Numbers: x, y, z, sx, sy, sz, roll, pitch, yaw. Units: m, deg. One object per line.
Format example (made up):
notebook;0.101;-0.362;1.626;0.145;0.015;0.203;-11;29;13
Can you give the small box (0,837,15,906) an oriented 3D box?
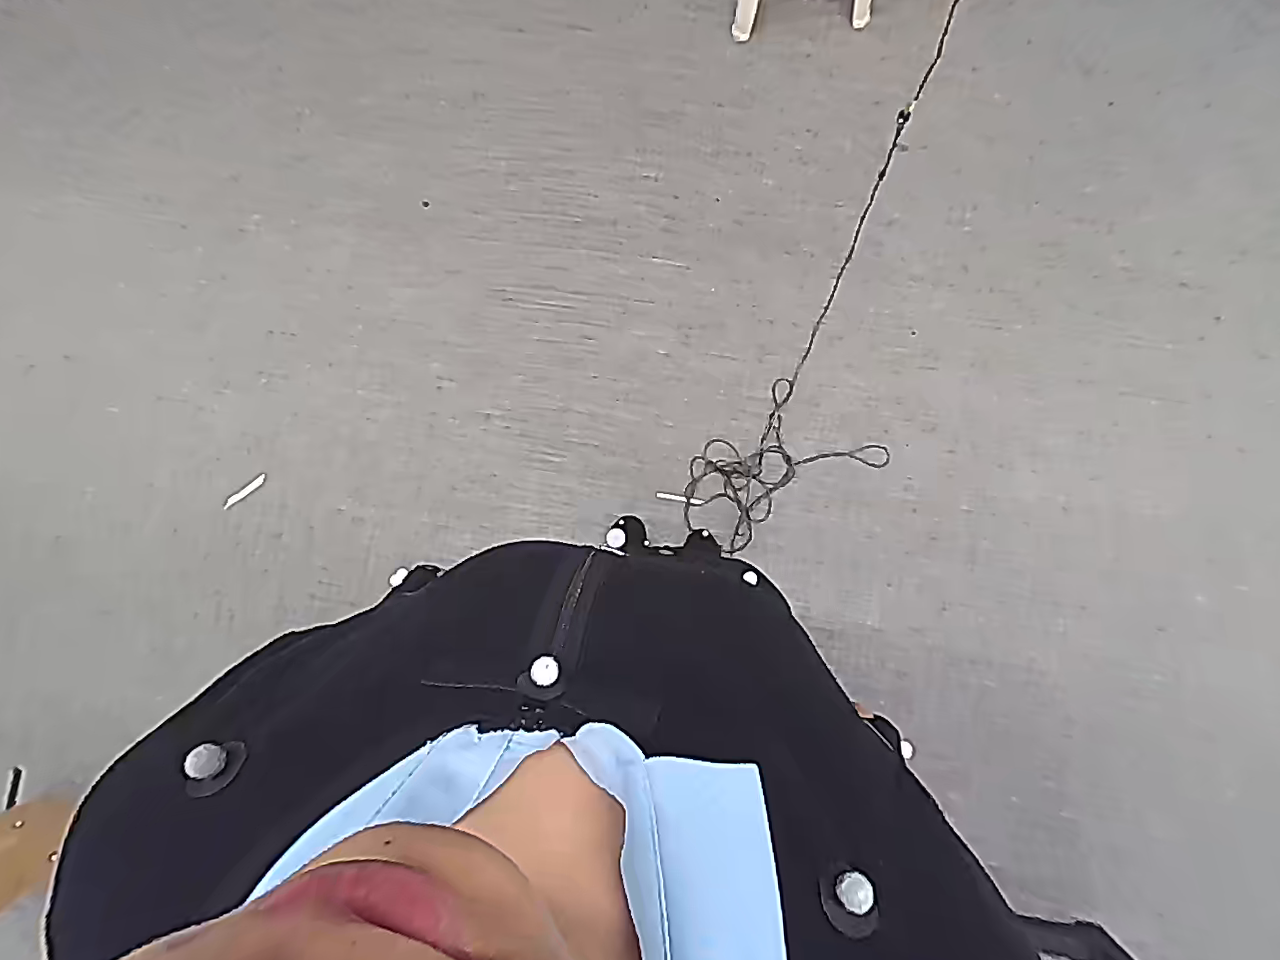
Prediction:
small box;-1.764;1.032;1.374;0.168;0.176;0.179;4;87;5

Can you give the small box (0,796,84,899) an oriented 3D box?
small box;-1.757;1.037;1.537;0.179;0.176;0.168;12;87;7
